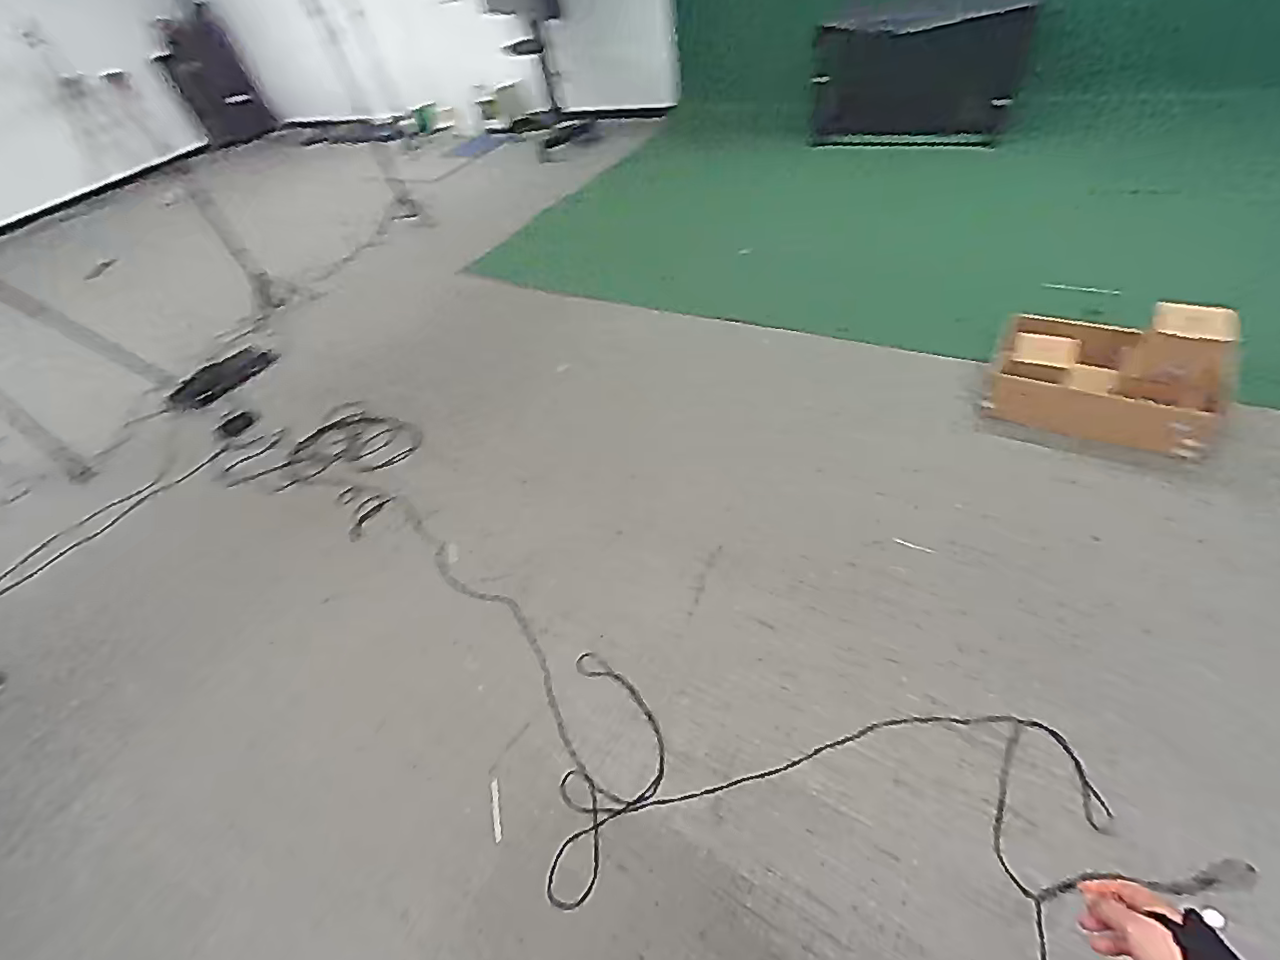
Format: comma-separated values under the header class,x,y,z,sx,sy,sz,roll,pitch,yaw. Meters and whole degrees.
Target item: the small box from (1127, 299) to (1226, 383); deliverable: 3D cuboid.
class,x,y,z,sx,sy,sz,roll,pitch,yaw
small box,1.630,-0.425,1.650,0.168,0.176,0.179,19,56,28
